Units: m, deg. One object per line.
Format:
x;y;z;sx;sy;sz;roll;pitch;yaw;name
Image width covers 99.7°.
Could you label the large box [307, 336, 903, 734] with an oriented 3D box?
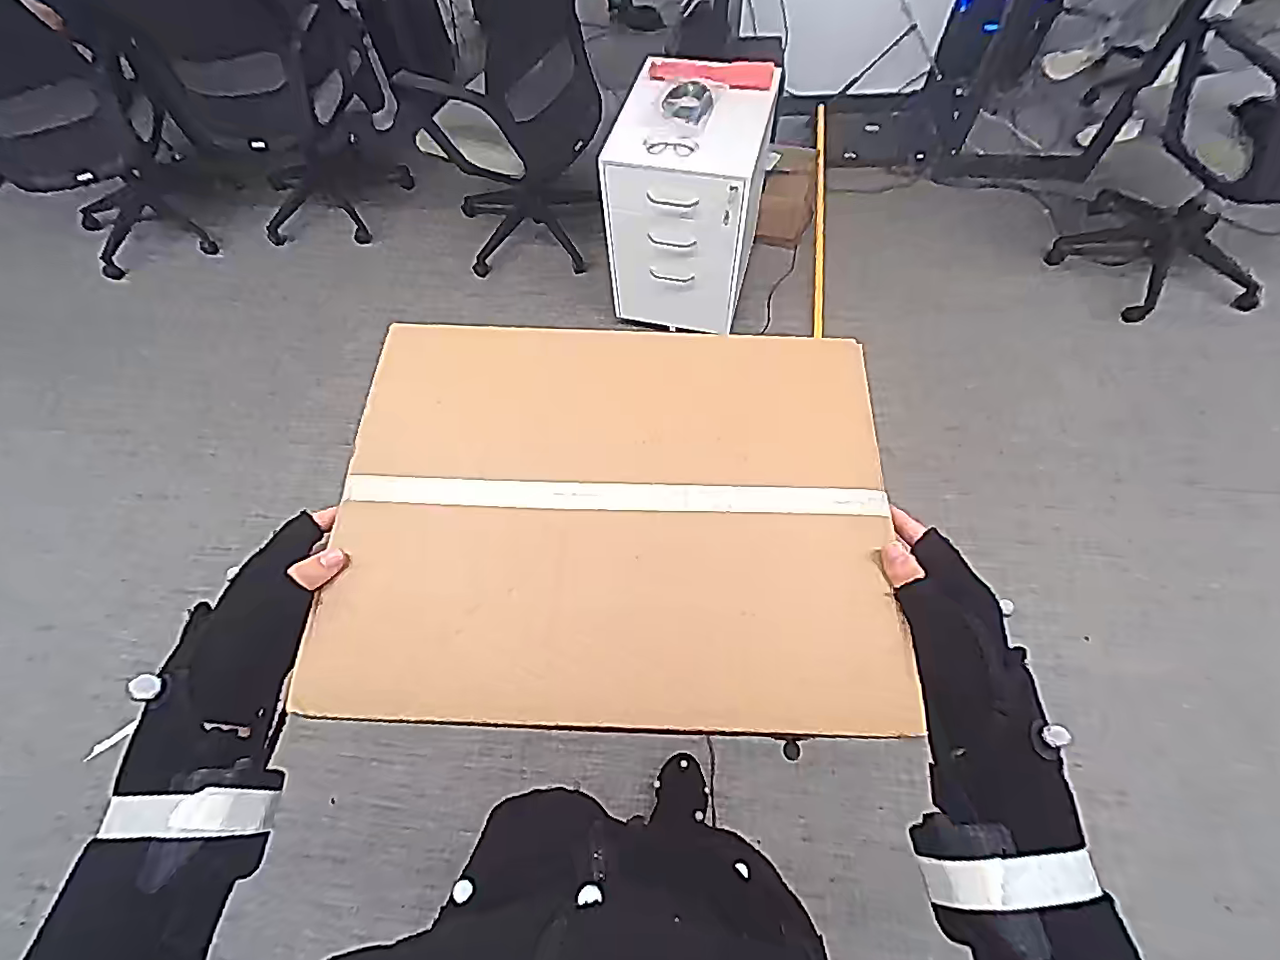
-0.019;0.078;0.551;0.408;0.320;0.320;3;65;0;large box
